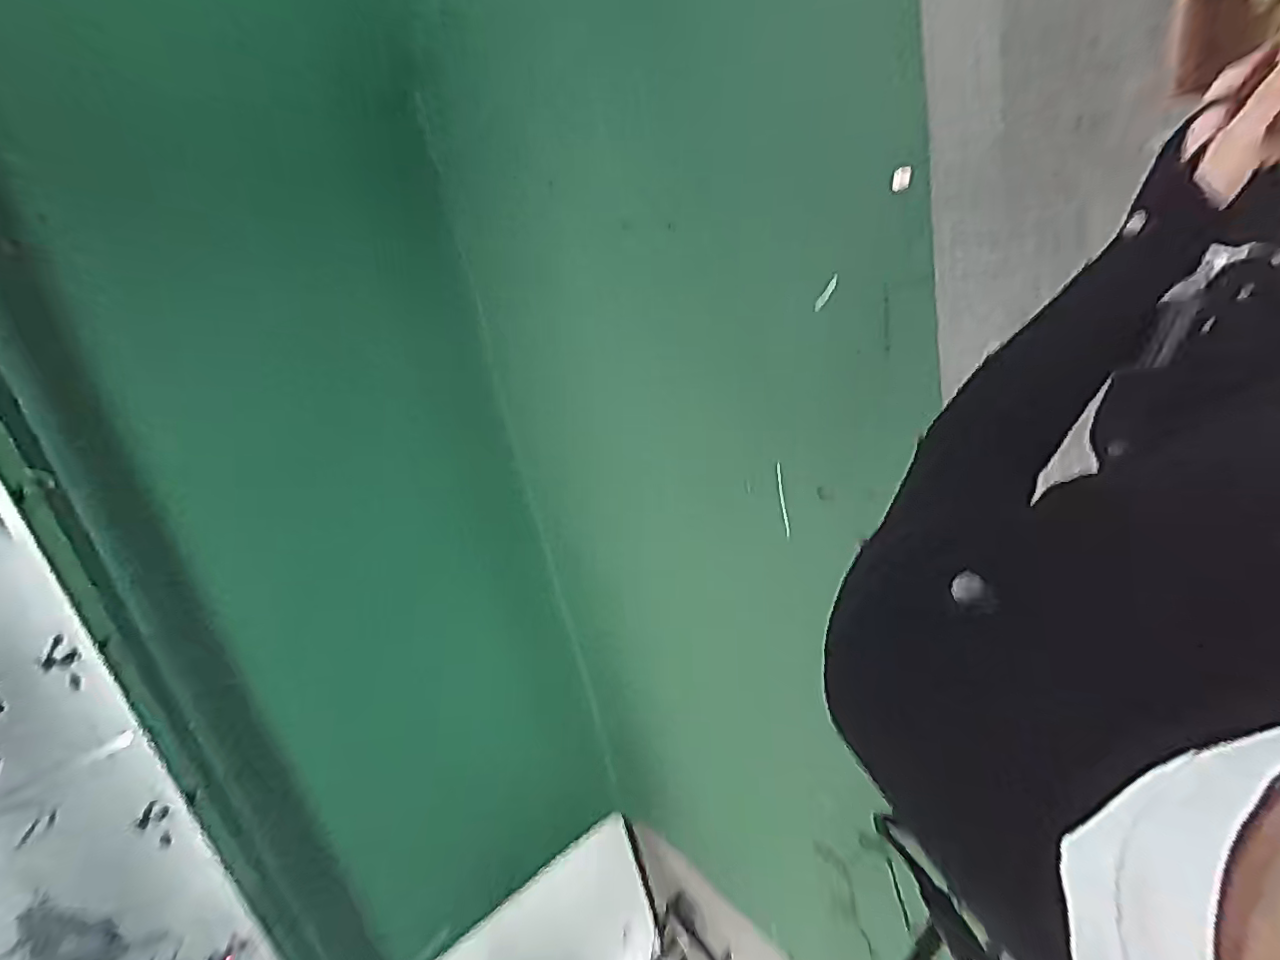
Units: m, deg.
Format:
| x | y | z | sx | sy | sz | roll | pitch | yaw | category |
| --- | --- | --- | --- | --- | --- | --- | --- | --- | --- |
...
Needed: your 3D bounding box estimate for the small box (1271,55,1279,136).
| x | y | z | sx | sy | sz | roll | pitch | yaw | category |
| --- | --- | --- | --- | --- | --- | --- | --- | --- | --- |
| 0.604 | -0.380 | 0.397 | 0.168 | 0.176 | 0.179 | 9 | 102 | 45 | small box |
